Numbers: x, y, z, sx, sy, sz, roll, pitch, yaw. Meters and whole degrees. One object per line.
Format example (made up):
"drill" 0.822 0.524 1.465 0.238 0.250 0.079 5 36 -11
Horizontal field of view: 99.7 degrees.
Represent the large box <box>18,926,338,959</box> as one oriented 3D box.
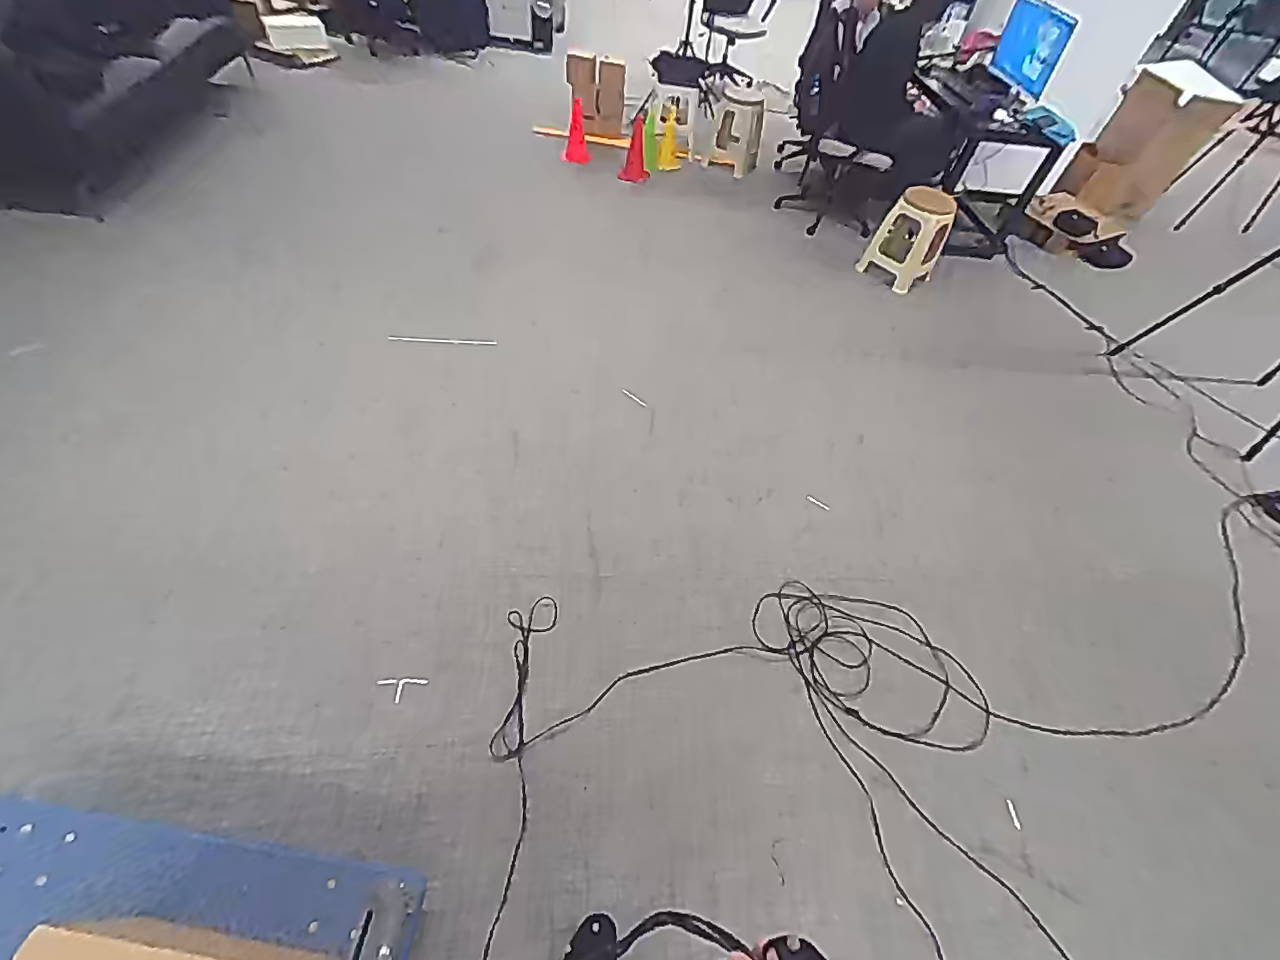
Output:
"large box" -0.736 0.907 0.814 0.408 0.320 0.320 16 49 -5
